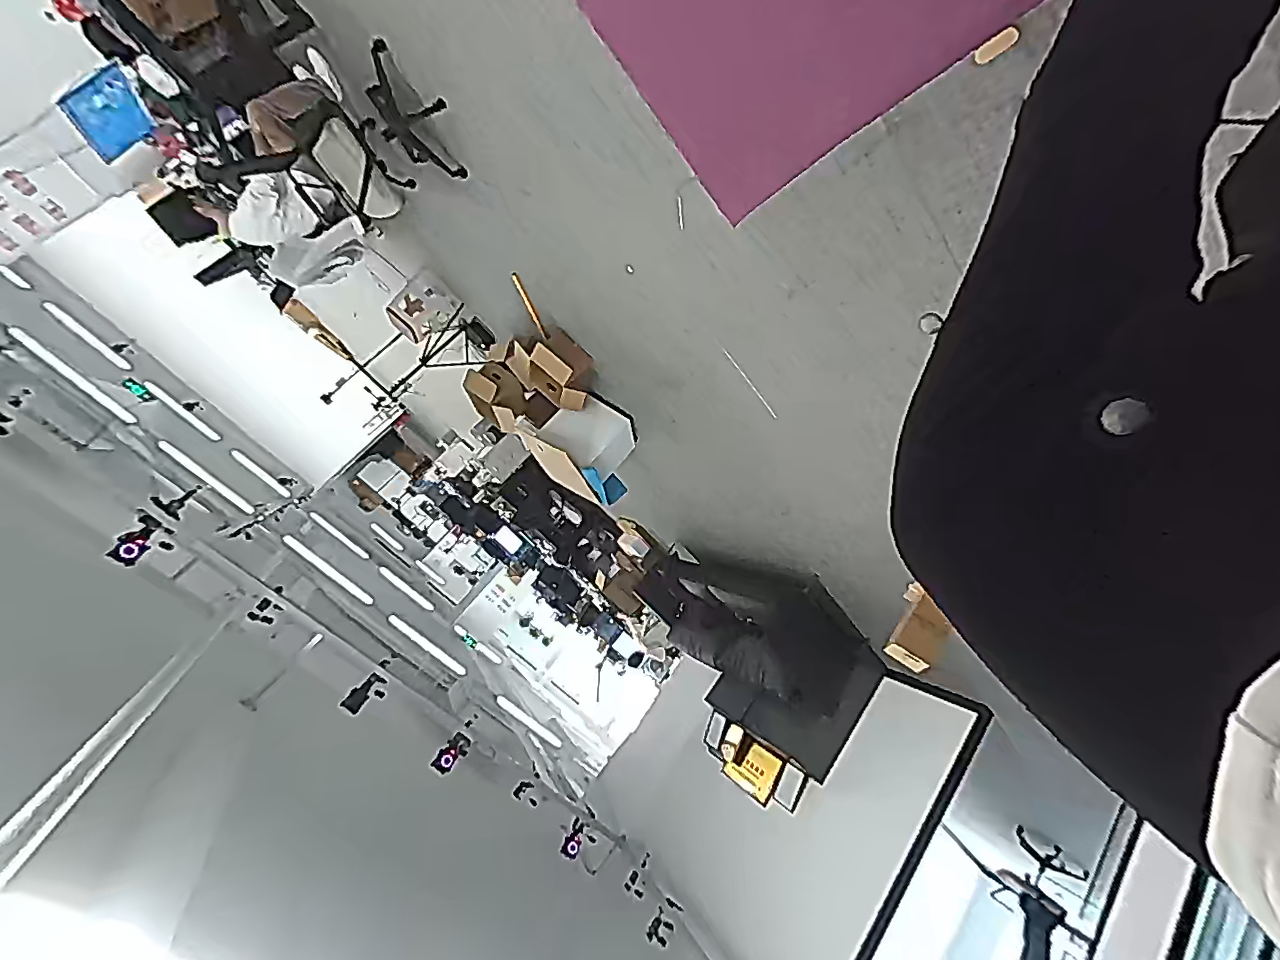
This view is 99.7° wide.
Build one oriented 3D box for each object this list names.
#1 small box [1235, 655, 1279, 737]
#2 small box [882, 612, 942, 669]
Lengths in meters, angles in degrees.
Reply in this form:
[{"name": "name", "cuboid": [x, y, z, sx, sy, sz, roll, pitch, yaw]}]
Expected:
[{"name": "small box", "cuboid": [1.983, 0.678, 1.664, 0.179, 0.176, 0.168, 52, 162, -29]}, {"name": "small box", "cuboid": [1.232, 0.721, 2.444, 0.168, 0.176, 0.179, 33, 161, 22]}]
